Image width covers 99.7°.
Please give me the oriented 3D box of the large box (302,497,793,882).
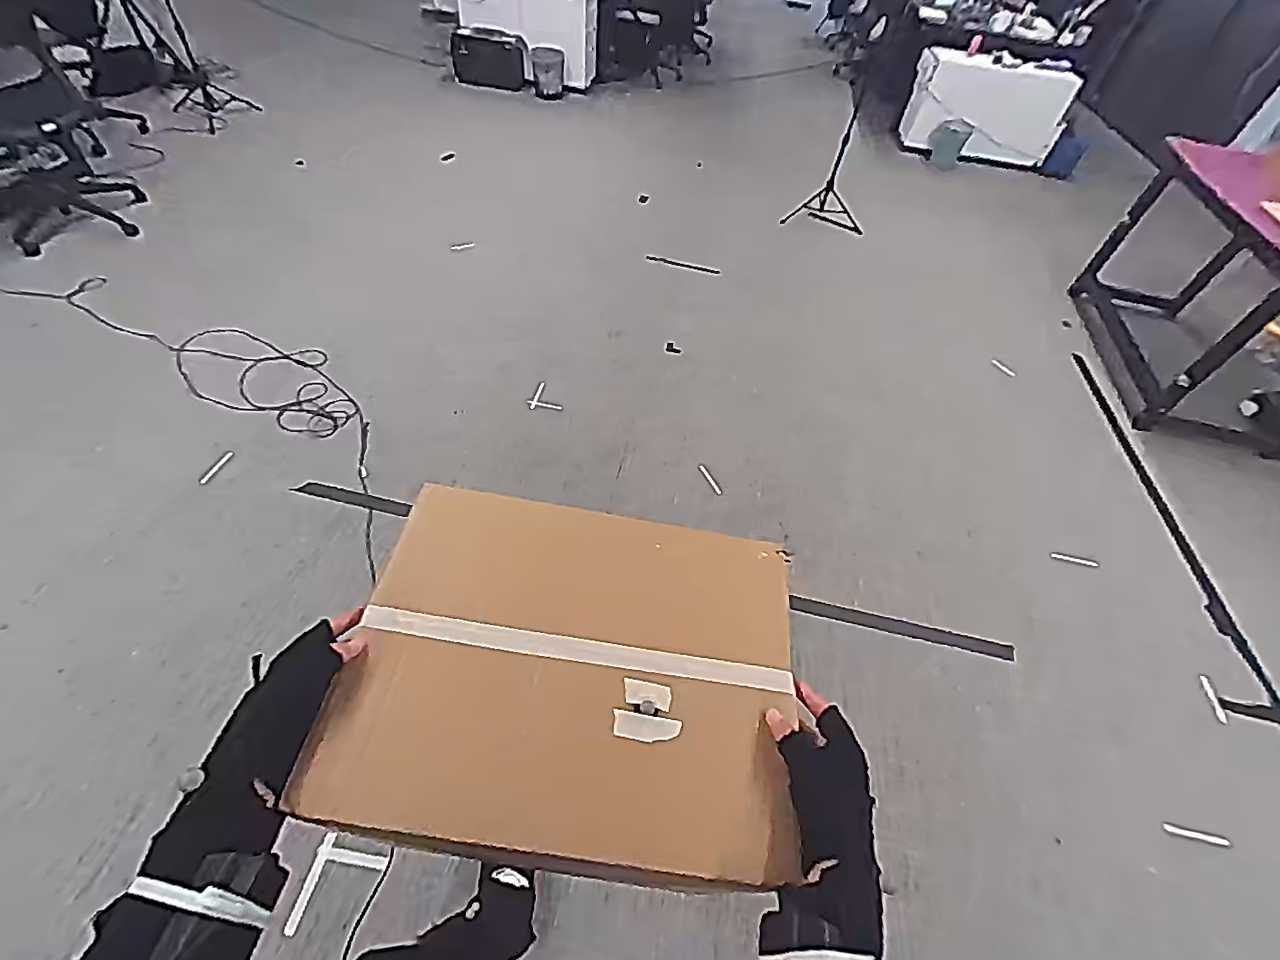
[{"bbox_3d":[-0.078,0.257,0.637,0.408,0.320,0.320,10,52,-2],"label":"large box"}]
